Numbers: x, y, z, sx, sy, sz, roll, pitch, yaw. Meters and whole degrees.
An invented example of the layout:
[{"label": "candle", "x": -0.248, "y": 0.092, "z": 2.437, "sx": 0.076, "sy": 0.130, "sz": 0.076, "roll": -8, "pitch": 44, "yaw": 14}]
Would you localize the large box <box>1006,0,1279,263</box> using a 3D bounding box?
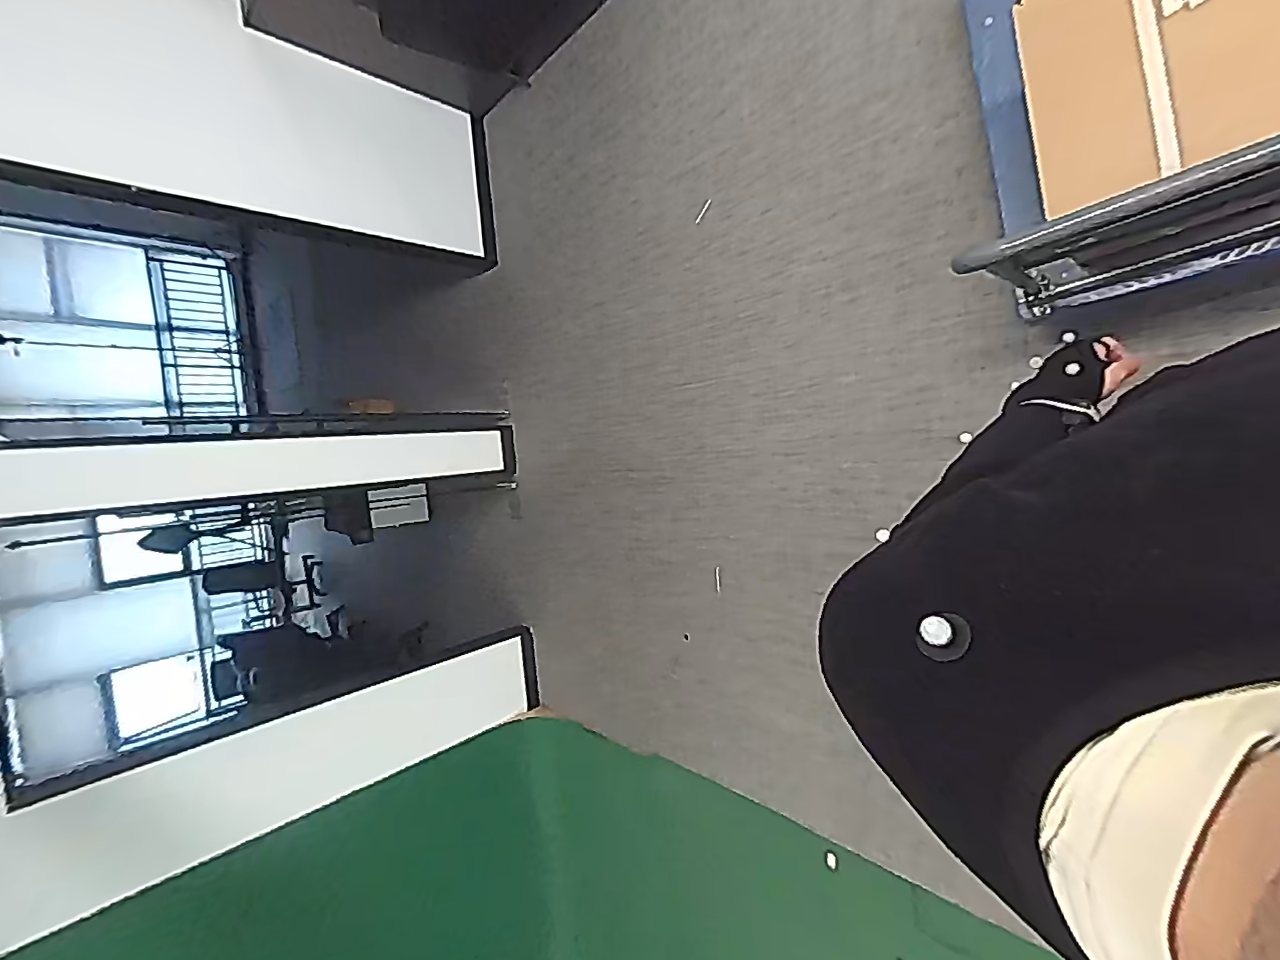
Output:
[{"label": "large box", "x": 0.888, "y": -0.658, "z": 0.940, "sx": 0.320, "sy": 0.320, "sz": 0.408, "roll": -10, "pitch": 87, "yaw": 45}]
